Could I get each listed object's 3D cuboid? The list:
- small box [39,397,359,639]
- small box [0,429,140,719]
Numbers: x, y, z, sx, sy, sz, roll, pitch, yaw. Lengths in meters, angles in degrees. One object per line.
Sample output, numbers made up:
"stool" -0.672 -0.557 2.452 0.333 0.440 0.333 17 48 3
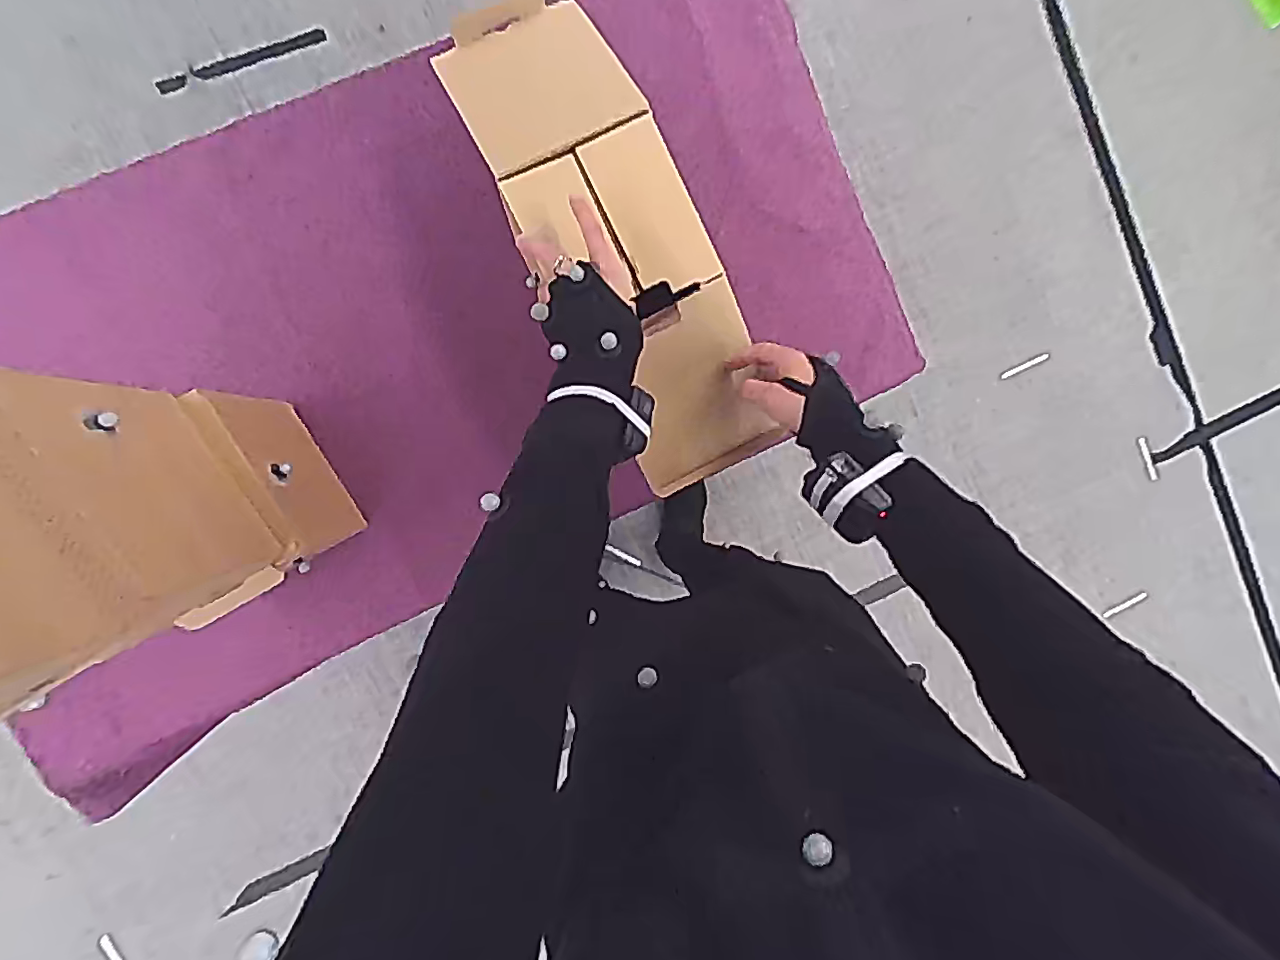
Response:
"small box" -0.440 0.030 0.575 0.168 0.176 0.179 -30 97 -5
"small box" -0.411 0.065 0.247 0.168 0.176 0.179 -32 96 -3
